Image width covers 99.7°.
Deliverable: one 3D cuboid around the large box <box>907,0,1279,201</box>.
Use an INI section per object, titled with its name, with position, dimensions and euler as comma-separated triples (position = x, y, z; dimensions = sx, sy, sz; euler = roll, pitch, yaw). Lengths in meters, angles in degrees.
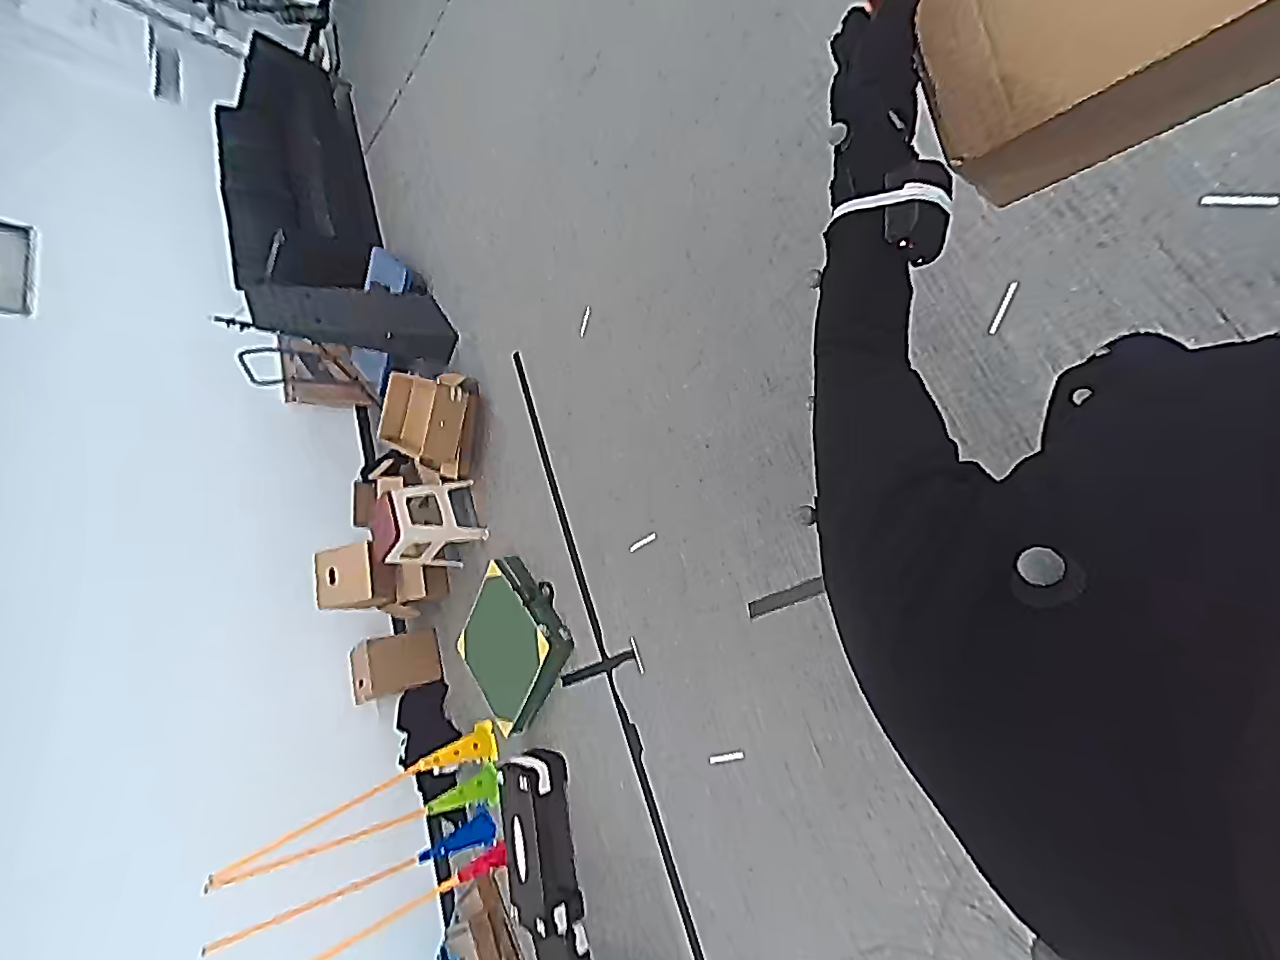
[large box]
position = 0.456, -0.501, 0.442
dimensions = 0.408, 0.320, 0.320
euler = -16, 94, 41
